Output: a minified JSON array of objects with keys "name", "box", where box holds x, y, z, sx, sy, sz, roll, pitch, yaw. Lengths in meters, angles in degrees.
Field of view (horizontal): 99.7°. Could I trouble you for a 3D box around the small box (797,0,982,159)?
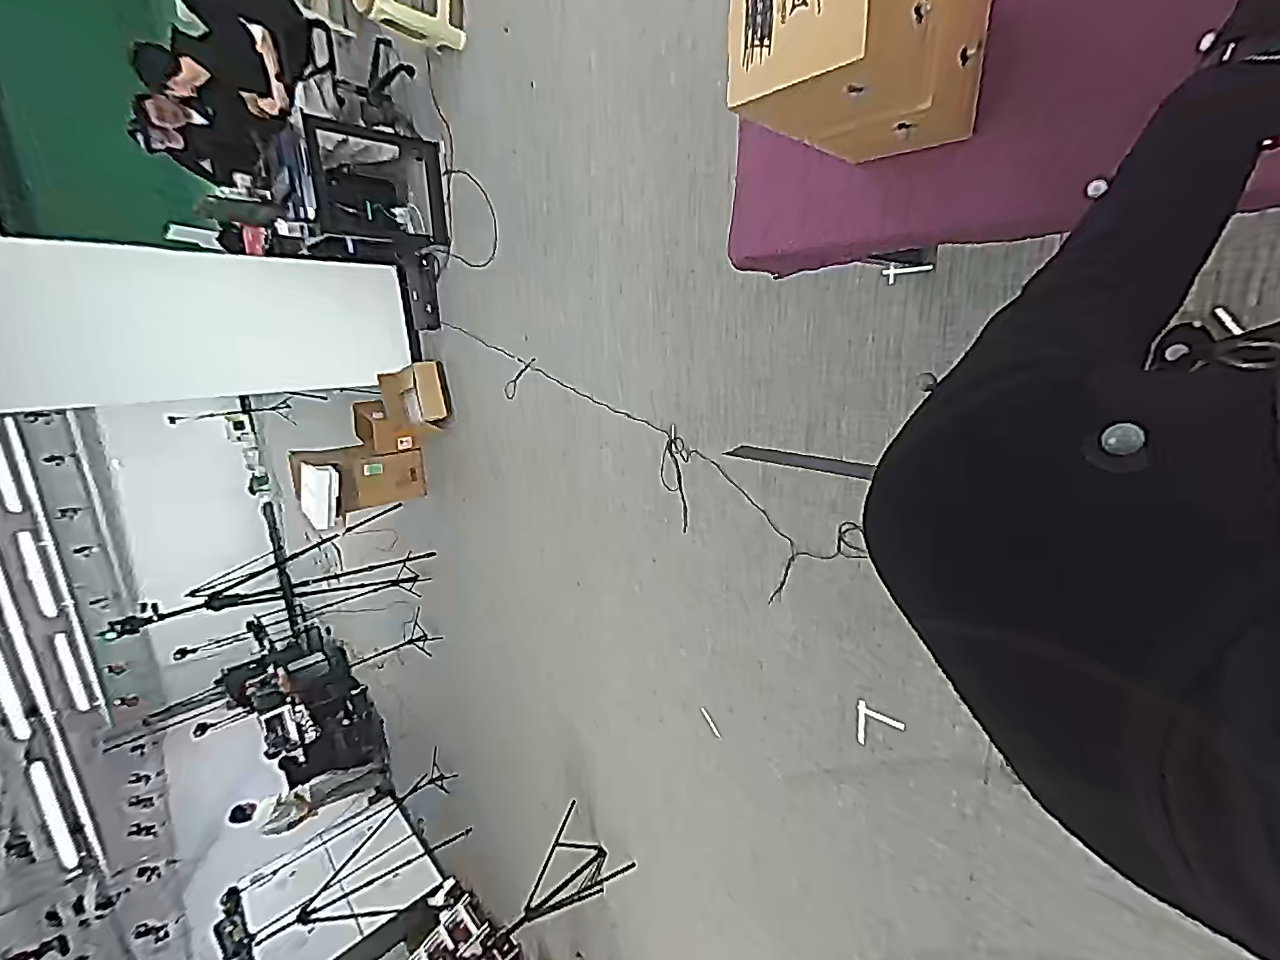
[{"name":"small box","box":[0.341,-0.560,0.741,0.179,0.176,0.168,16,113,44]}]
